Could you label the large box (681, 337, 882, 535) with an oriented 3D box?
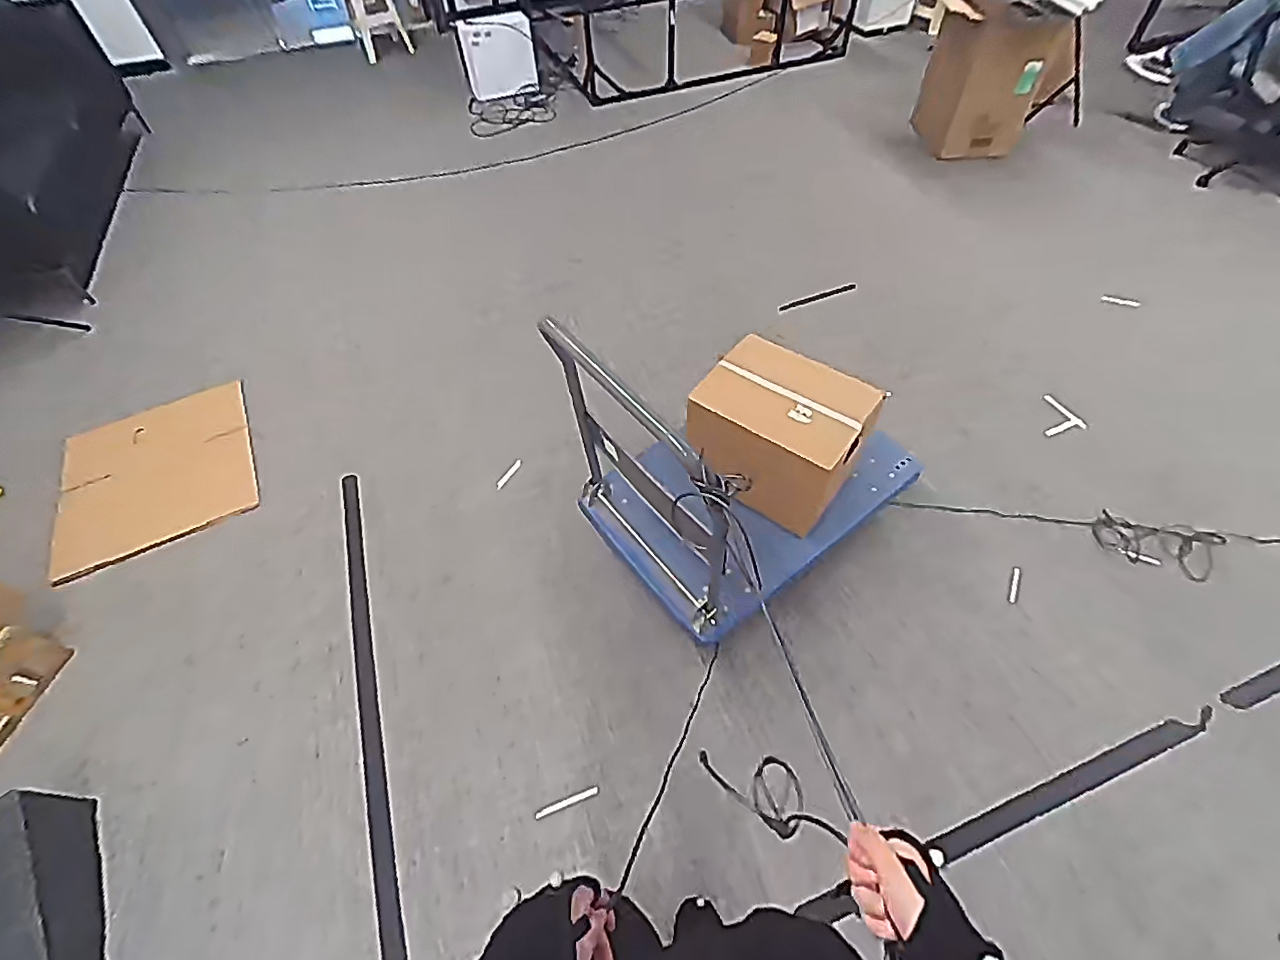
[{"bbox_3d":[0.364,-0.124,1.487,0.408,0.320,0.320,32,62,22],"label":"large box"}]
